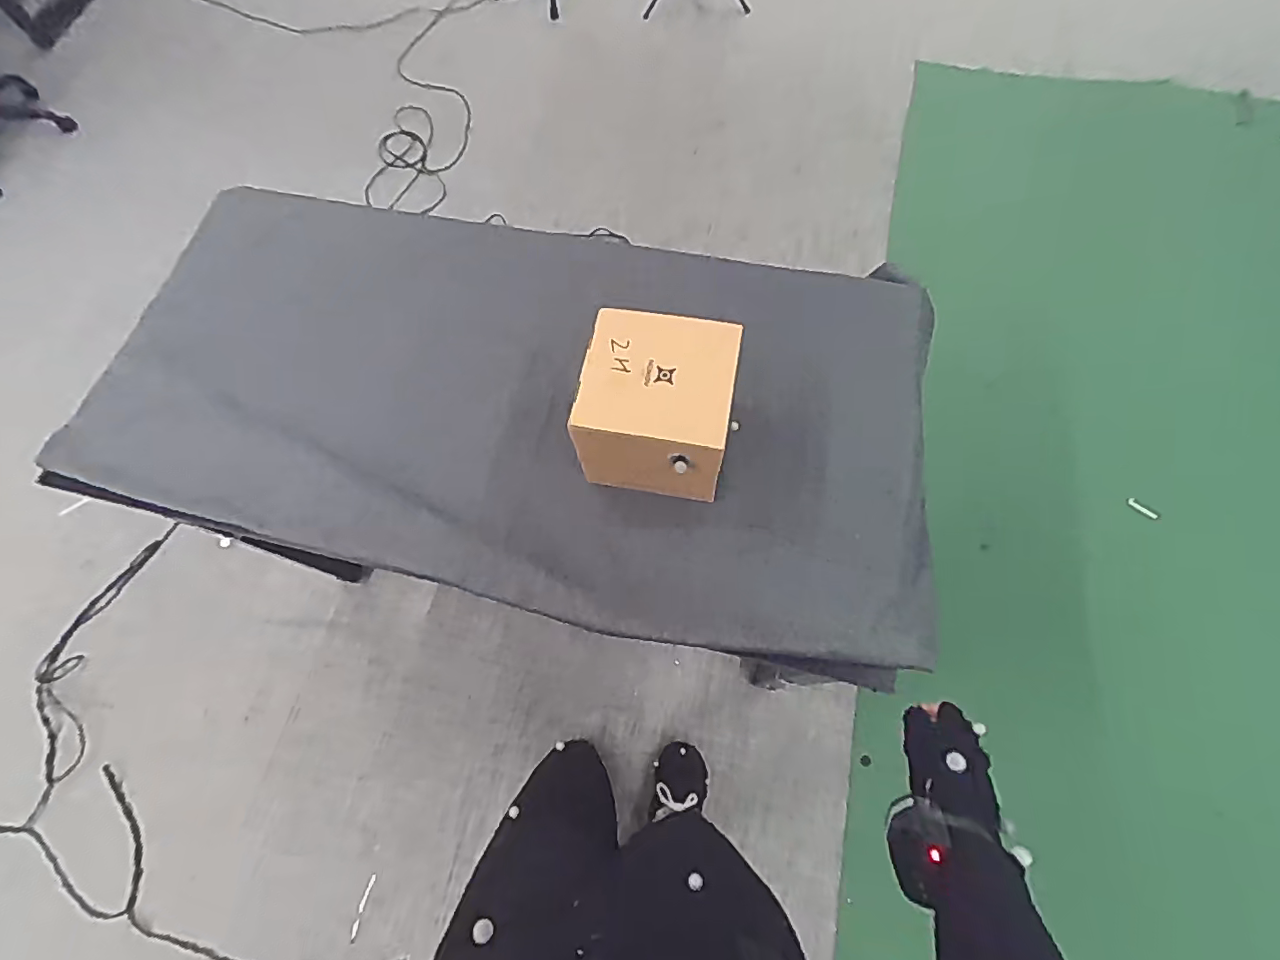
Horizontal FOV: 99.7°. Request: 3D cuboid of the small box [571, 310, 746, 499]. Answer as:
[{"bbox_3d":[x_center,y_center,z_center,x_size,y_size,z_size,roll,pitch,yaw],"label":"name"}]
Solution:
[{"bbox_3d":[0.027,-0.086,0.686,0.179,0.176,0.168,10,68,7],"label":"small box"}]
